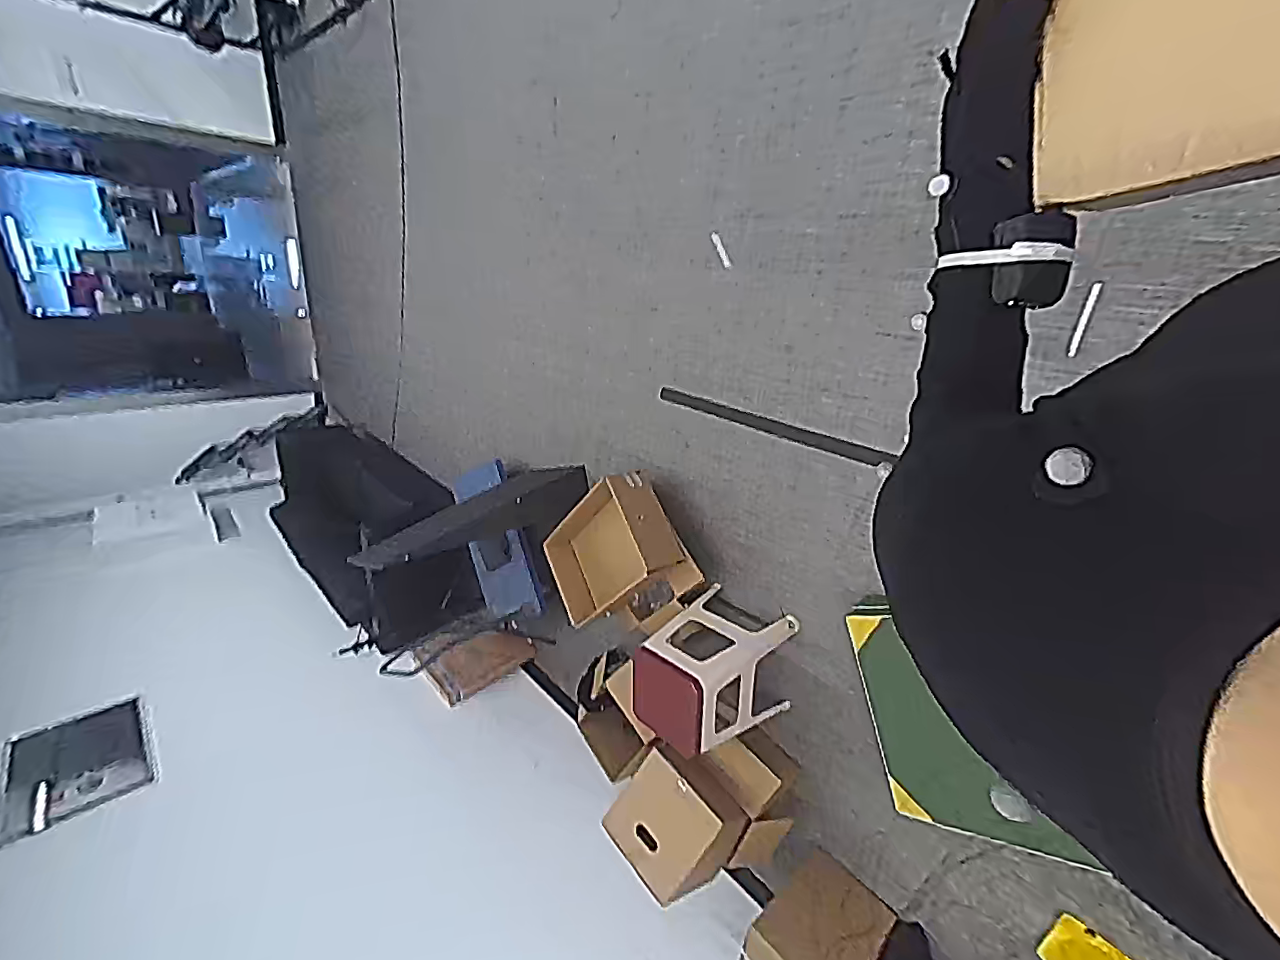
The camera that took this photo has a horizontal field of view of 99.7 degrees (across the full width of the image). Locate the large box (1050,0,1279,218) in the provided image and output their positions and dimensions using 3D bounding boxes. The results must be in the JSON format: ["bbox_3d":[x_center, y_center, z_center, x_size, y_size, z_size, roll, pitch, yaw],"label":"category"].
[{"bbox_3d":[0.527,-0.381,0.336,0.408,0.320,0.320,6,113,44],"label":"large box"}]
